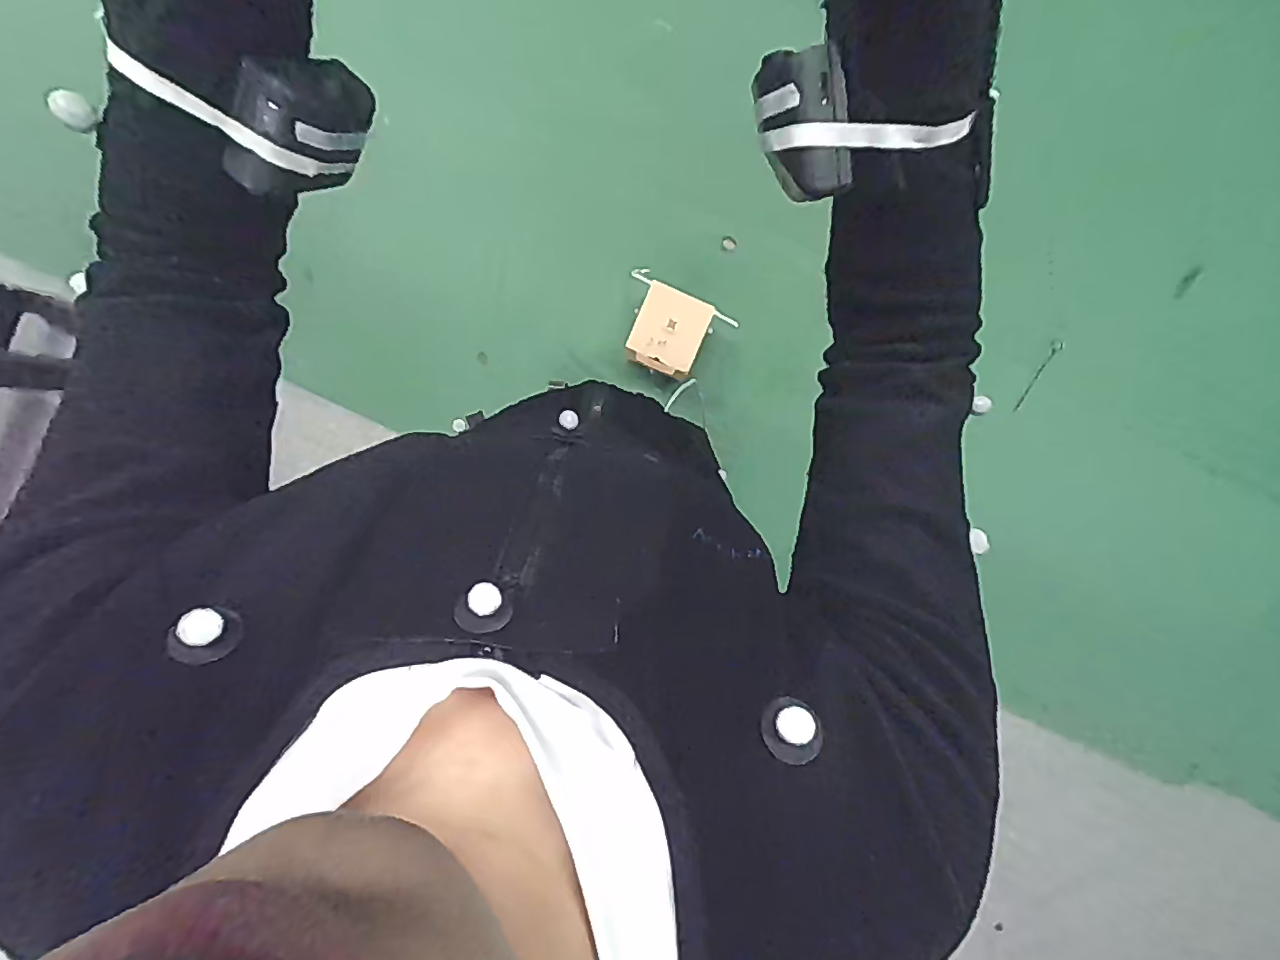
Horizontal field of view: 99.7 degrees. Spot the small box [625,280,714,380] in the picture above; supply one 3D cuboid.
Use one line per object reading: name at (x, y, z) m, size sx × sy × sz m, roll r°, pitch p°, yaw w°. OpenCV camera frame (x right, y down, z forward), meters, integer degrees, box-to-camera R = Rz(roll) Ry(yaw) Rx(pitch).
small box at (0.066, -0.370, 1.370) m, size 0.168 × 0.176 × 0.179 m, roll 24°, pitch 93°, yaw -3°
